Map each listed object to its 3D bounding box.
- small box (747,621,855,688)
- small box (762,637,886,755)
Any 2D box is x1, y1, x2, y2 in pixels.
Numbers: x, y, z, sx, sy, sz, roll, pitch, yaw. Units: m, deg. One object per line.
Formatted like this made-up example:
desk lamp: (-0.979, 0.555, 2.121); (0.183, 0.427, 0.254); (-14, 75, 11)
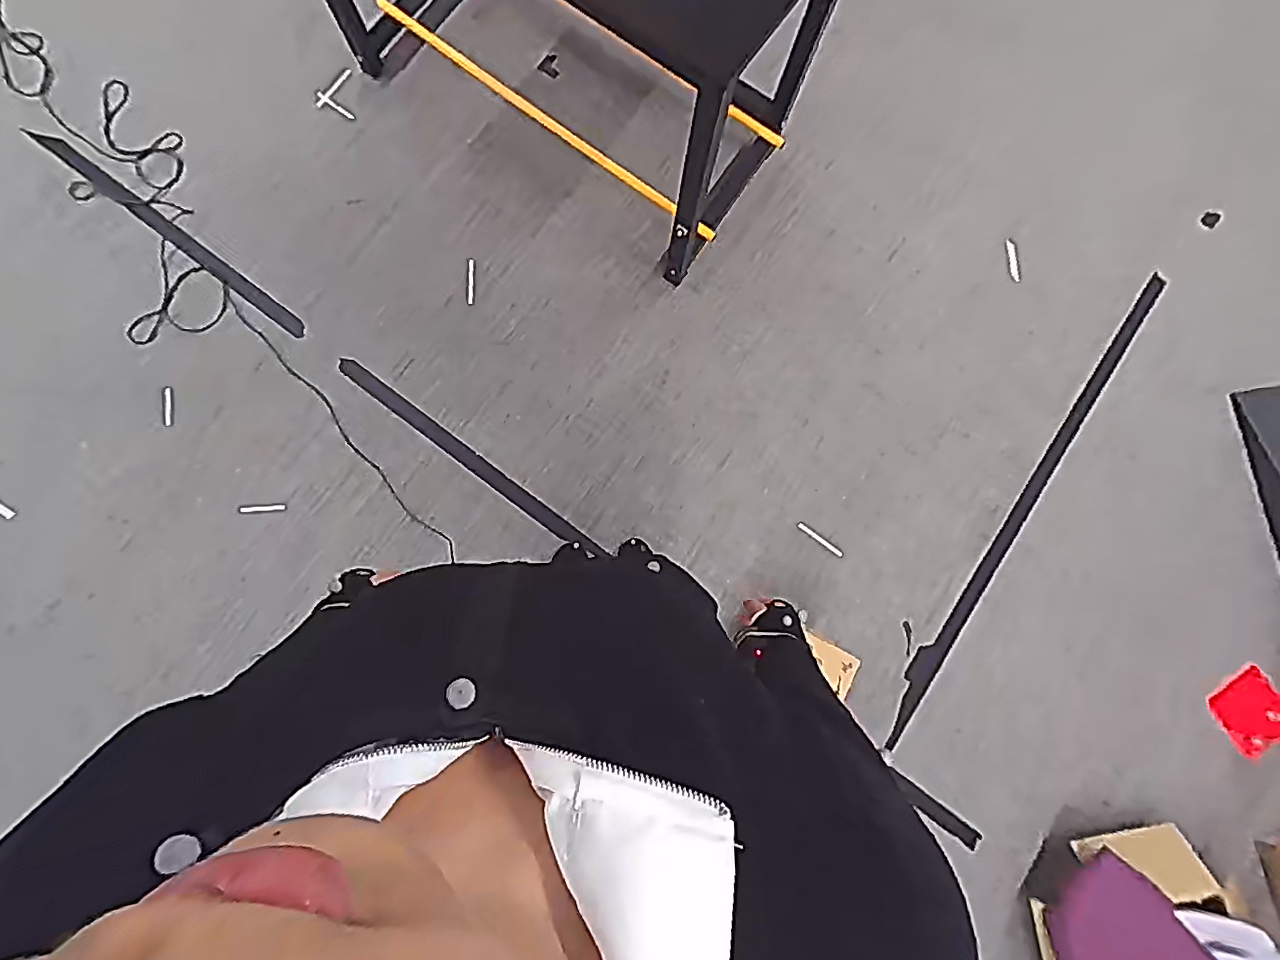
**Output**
small box: (0.394, 0.466, 1.348); (0.179, 0.176, 0.168); (29, 81, 2)
small box: (0.392, 0.460, 1.183); (0.179, 0.176, 0.168); (28, 82, 1)
